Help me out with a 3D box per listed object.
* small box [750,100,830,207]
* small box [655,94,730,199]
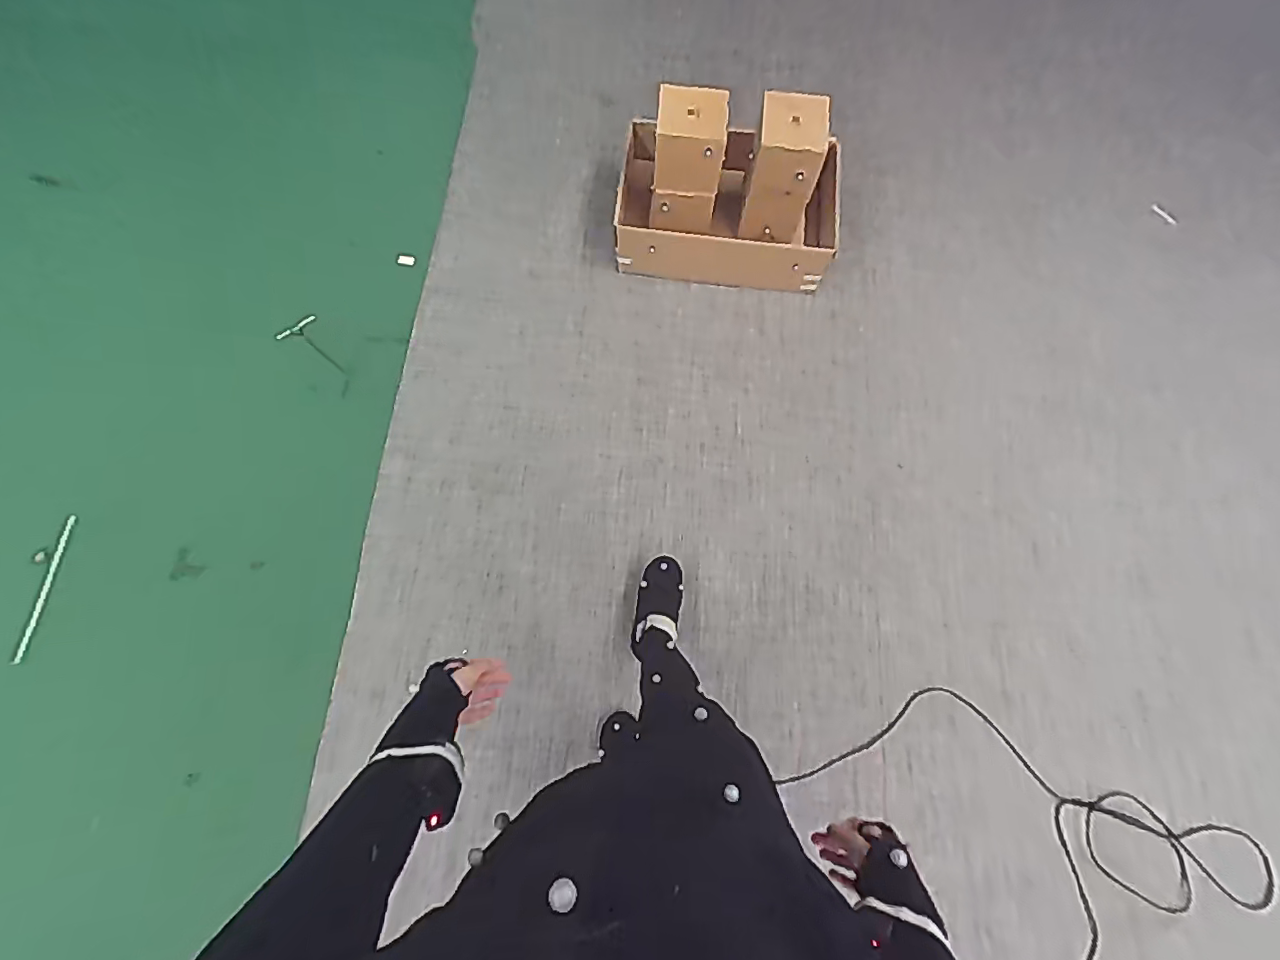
[{"bbox_3d":[0.388,-0.852,1.424,0.168,0.176,0.179,7,74,2],"label":"small box"},{"bbox_3d":[0.134,-0.876,1.431,0.179,0.176,0.168,5,74,0],"label":"small box"}]
